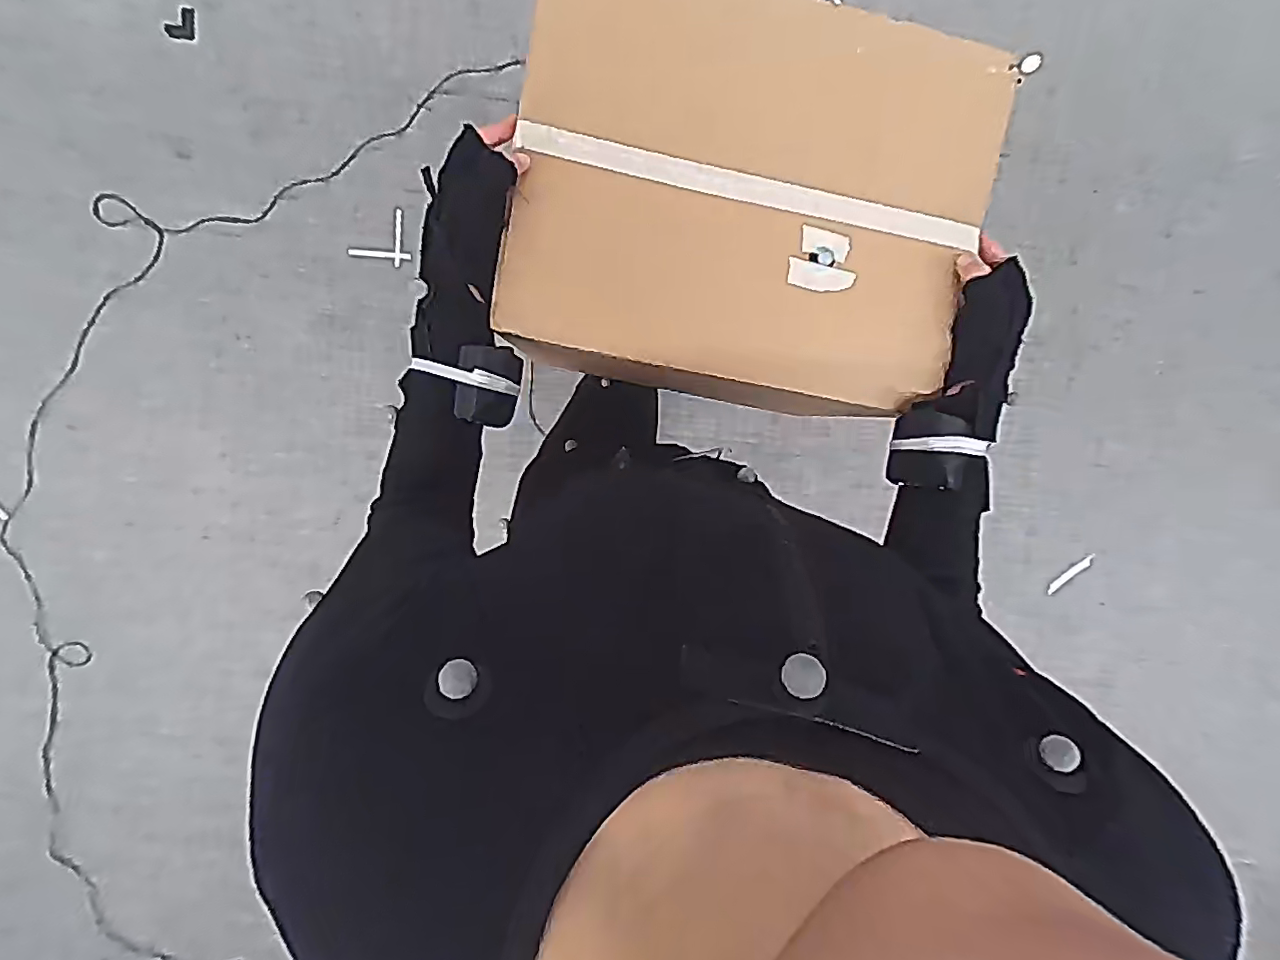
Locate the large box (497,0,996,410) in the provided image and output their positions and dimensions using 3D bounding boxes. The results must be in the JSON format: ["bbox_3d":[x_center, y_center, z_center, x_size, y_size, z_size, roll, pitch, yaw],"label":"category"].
[{"bbox_3d":[0.079,-0.265,0.615,0.408,0.320,0.320,10,98,-7],"label":"large box"}]
